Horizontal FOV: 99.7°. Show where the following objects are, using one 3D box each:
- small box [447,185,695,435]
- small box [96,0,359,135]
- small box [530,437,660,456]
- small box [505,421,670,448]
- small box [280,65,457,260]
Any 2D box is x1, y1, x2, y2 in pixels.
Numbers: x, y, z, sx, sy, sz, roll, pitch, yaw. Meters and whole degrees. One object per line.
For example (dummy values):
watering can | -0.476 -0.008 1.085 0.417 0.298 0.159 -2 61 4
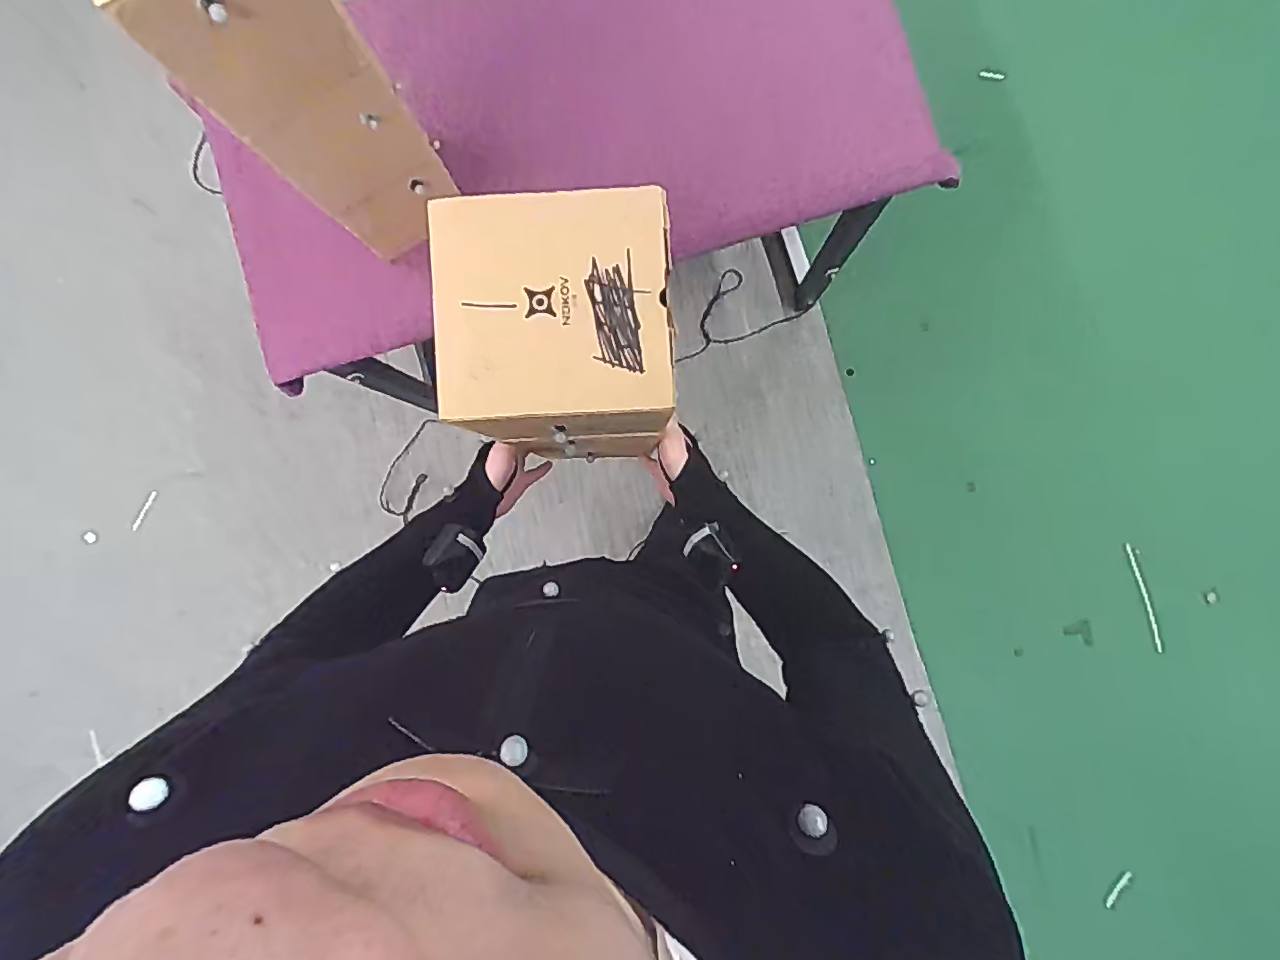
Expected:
small box | -0.052 -0.131 0.474 0.179 0.176 0.168 -3 89 -1
small box | -0.416 -0.501 0.537 0.179 0.176 0.168 -31 87 0
small box | -0.061 -0.123 0.802 0.179 0.176 0.168 -1 89 -1
small box | -0.057 -0.127 0.639 0.179 0.176 0.168 -3 90 0
small box | -0.412 -0.492 0.864 0.179 0.176 0.168 -30 87 1
